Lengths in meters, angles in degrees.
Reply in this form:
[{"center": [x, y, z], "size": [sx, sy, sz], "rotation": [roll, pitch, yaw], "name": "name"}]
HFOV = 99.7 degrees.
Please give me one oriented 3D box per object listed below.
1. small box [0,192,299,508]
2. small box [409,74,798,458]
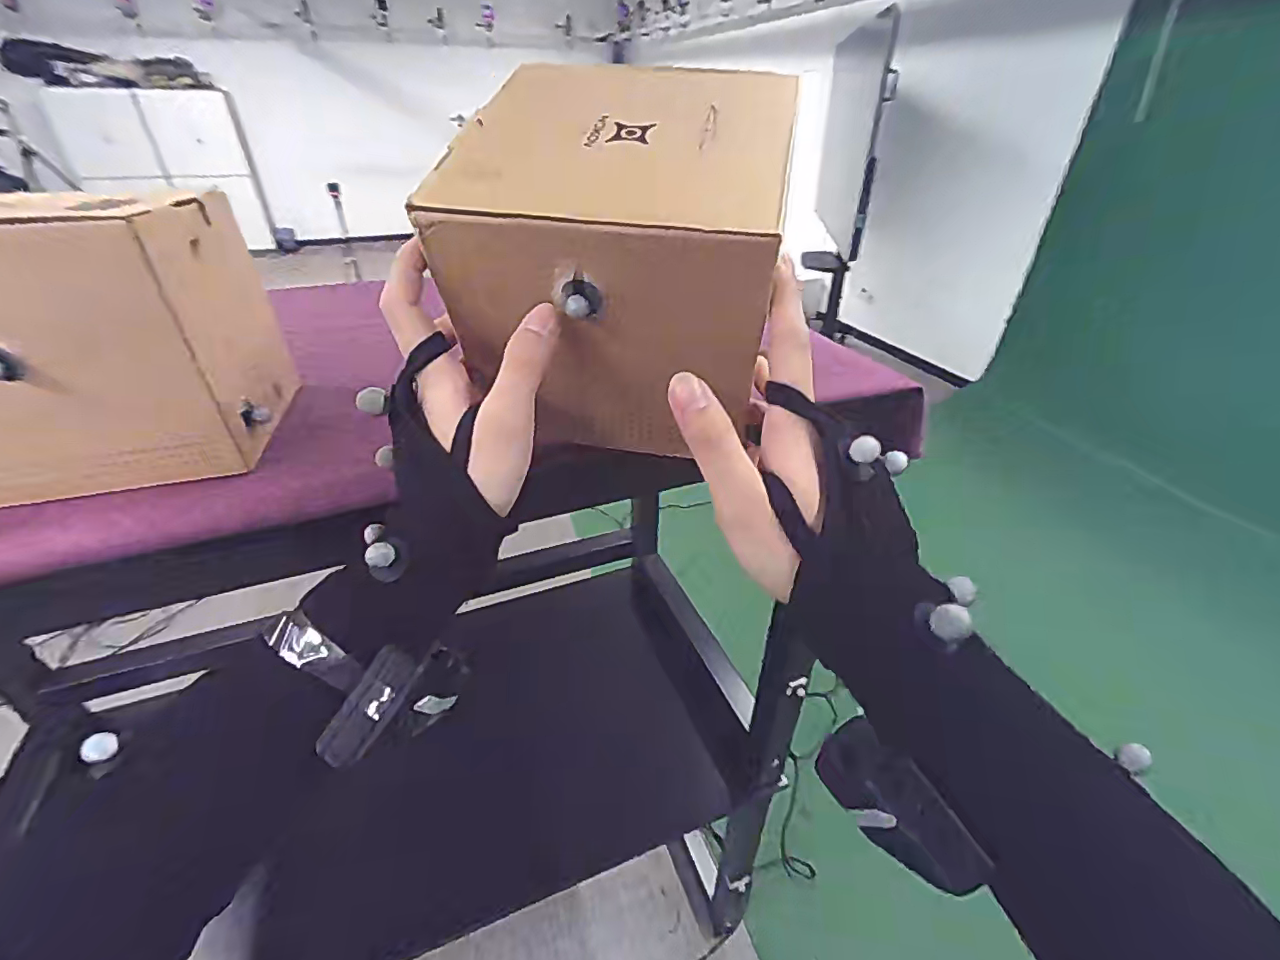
[{"center": [-0.382, -0.101, 0.392], "size": [0.179, 0.176, 0.168], "rotation": [-11, 35, -13], "name": "small box"}, {"center": [-0.005, -0.132, 0.352], "size": [0.179, 0.176, 0.168], "rotation": [9, 57, 10], "name": "small box"}]
